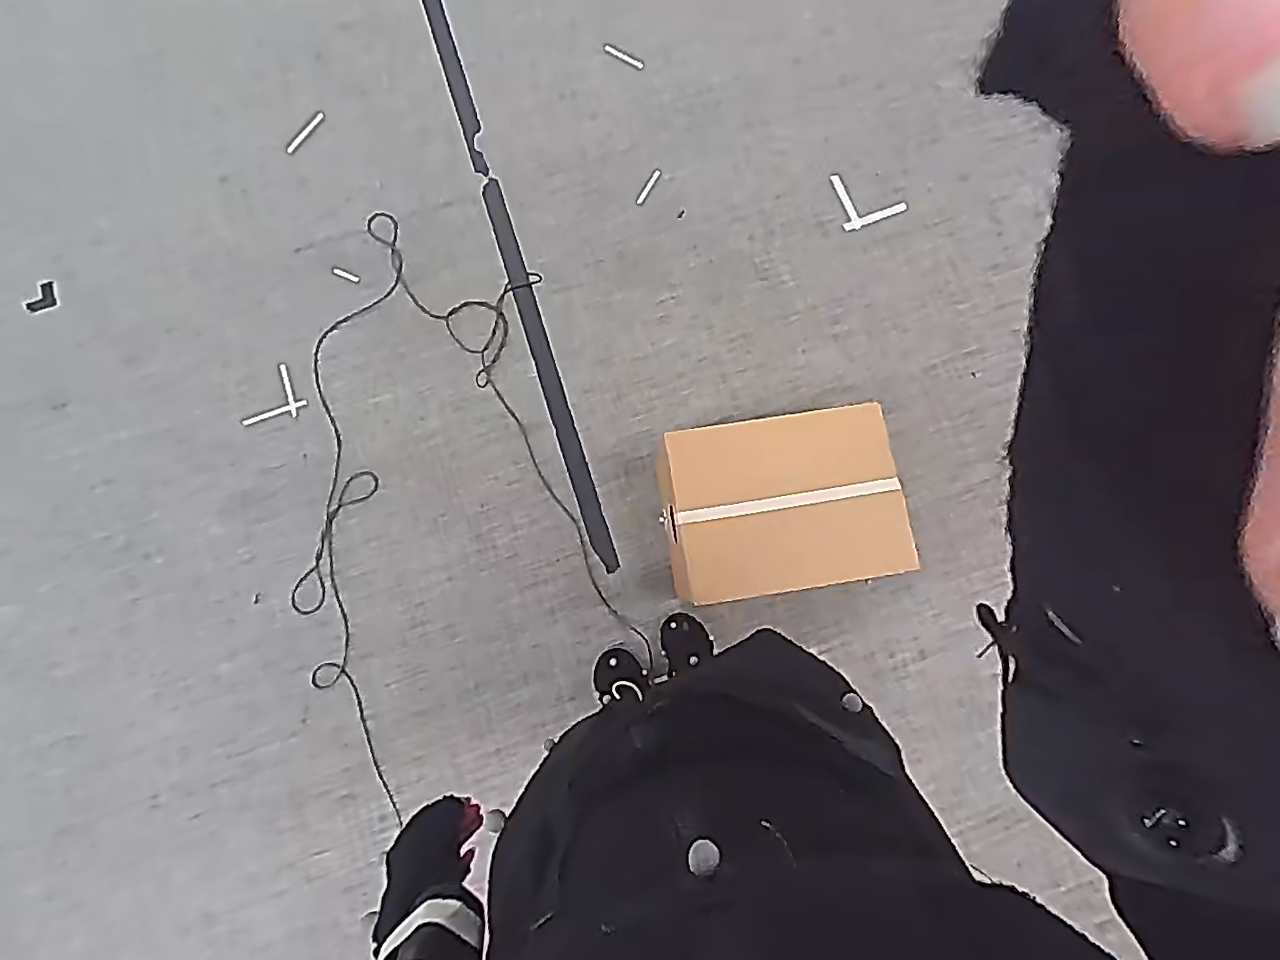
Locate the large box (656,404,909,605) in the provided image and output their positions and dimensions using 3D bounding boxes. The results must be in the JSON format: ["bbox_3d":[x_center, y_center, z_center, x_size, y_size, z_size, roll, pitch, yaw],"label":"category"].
[{"bbox_3d":[0.257,0.061,1.115,0.408,0.320,0.320,-9,80,-2],"label":"large box"}]
